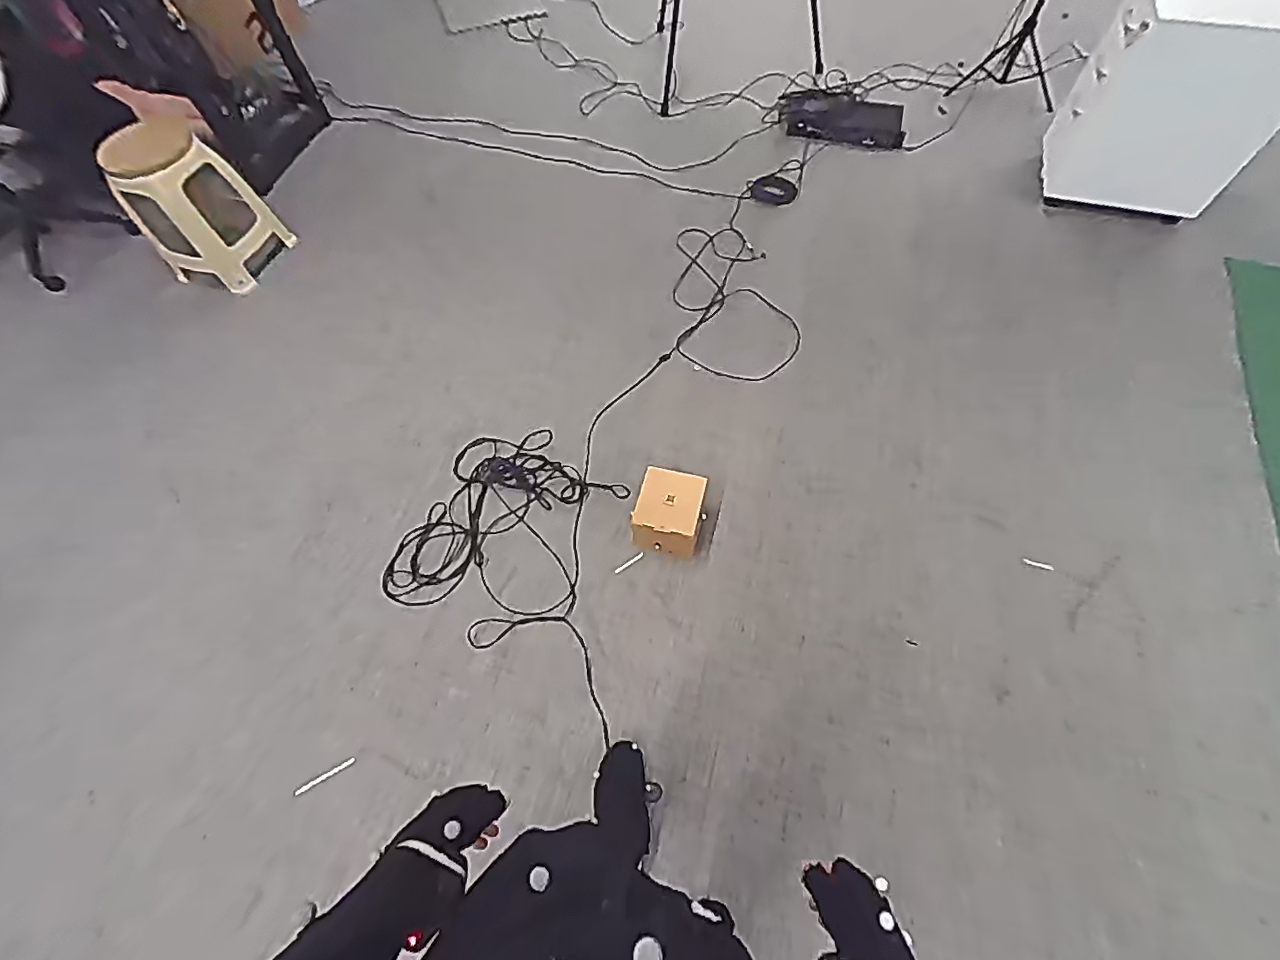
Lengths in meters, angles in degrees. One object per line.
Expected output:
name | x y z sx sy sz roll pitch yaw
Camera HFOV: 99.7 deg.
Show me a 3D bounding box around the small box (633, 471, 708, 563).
small box | 0.084 0.104 1.477 0.168 0.176 0.179 12 64 10
